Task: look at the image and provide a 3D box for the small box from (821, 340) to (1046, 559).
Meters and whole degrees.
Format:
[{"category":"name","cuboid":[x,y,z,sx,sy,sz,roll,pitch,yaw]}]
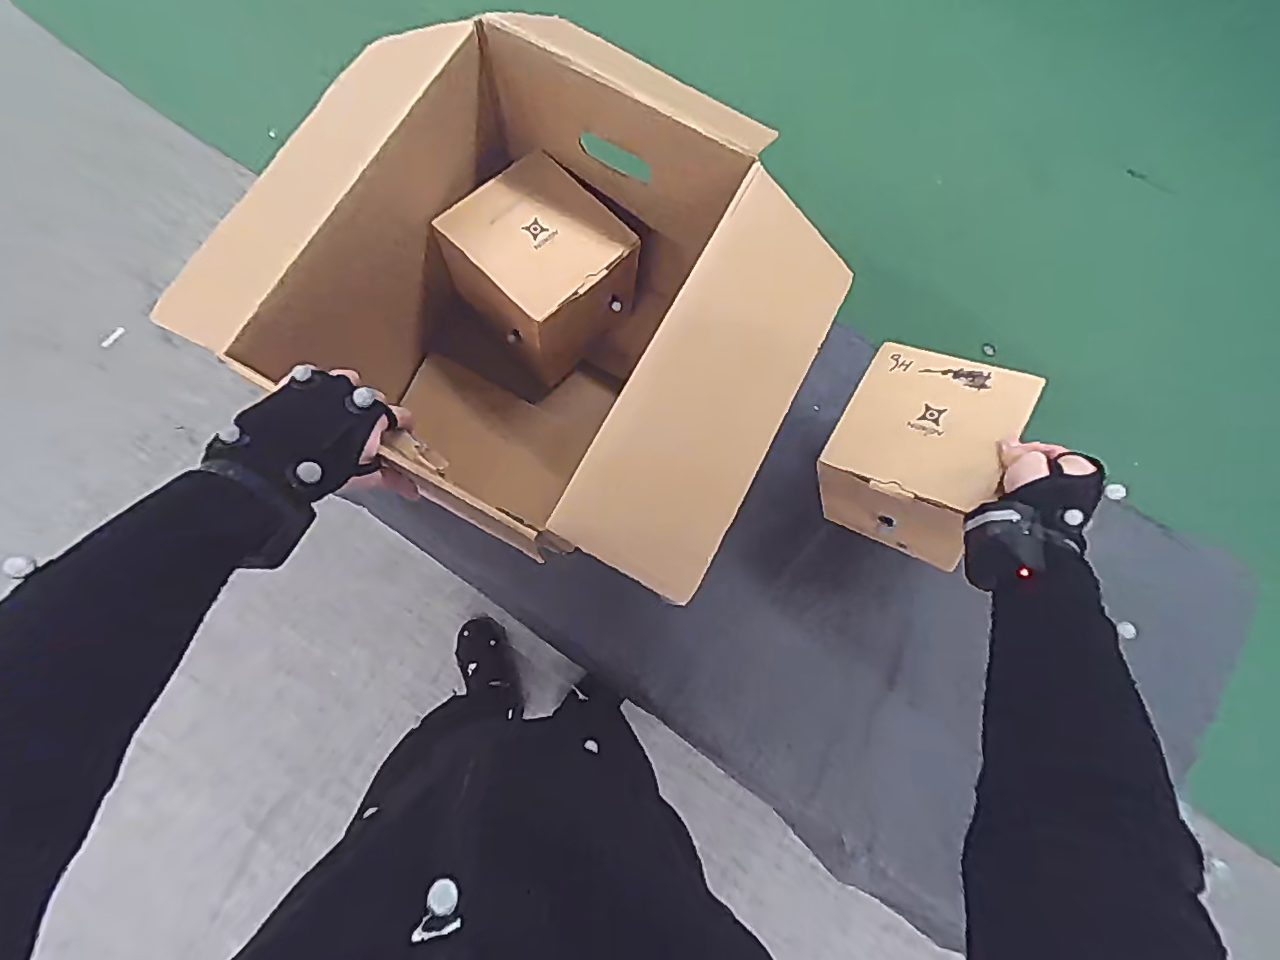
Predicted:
[{"category":"small box","cuboid":[0.338,-0.030,0.646,0.168,0.176,0.179,27,77,30]}]
